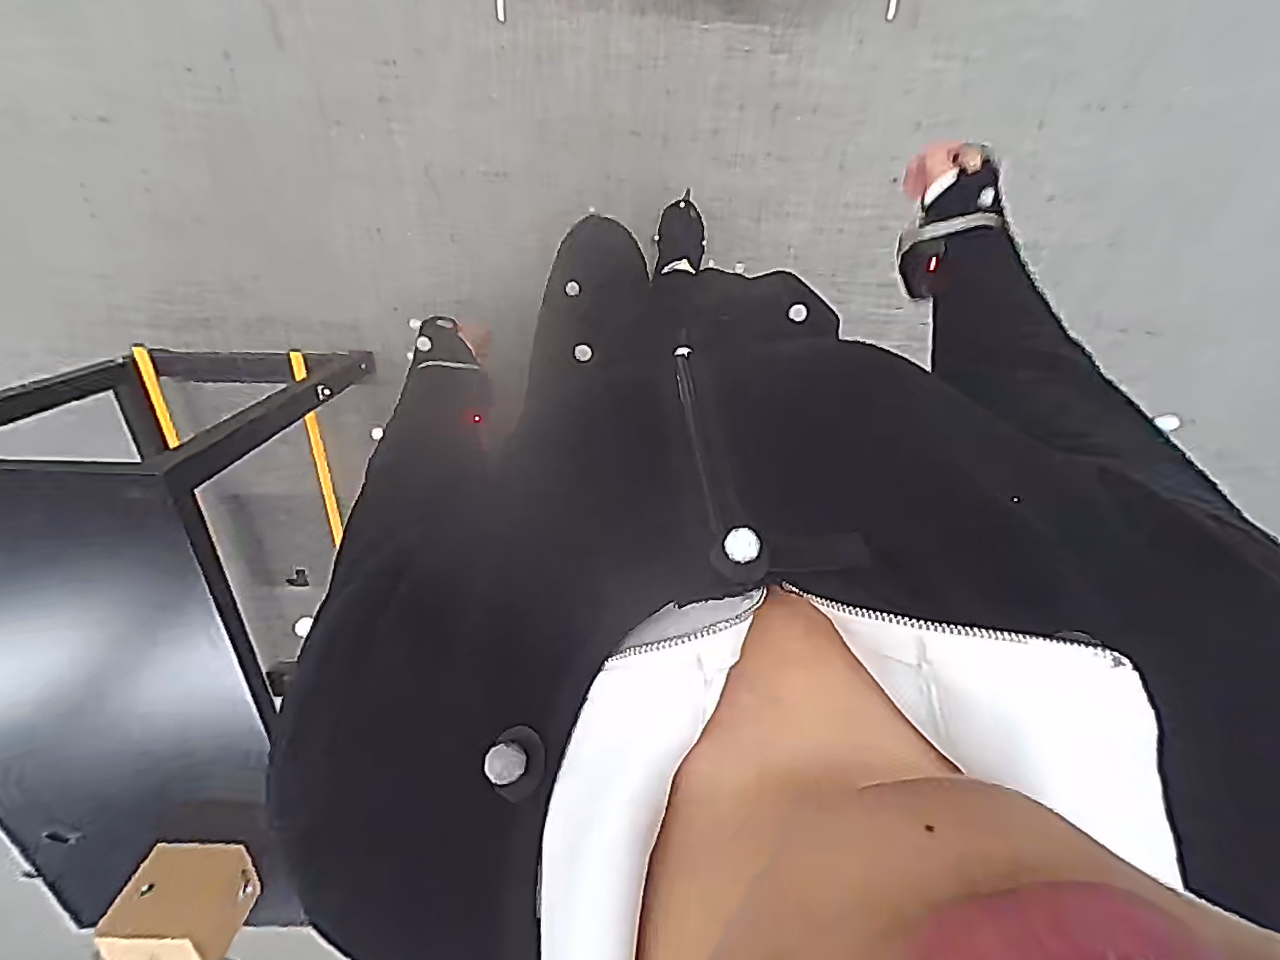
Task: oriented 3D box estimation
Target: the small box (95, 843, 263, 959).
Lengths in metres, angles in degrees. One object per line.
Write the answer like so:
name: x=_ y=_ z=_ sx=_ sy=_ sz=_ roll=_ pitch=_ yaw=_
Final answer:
small box: x=-0.917 y=0.865 z=1.095 sx=0.179 sy=0.176 sz=0.168 roll=2 pitch=118 yaw=-3
